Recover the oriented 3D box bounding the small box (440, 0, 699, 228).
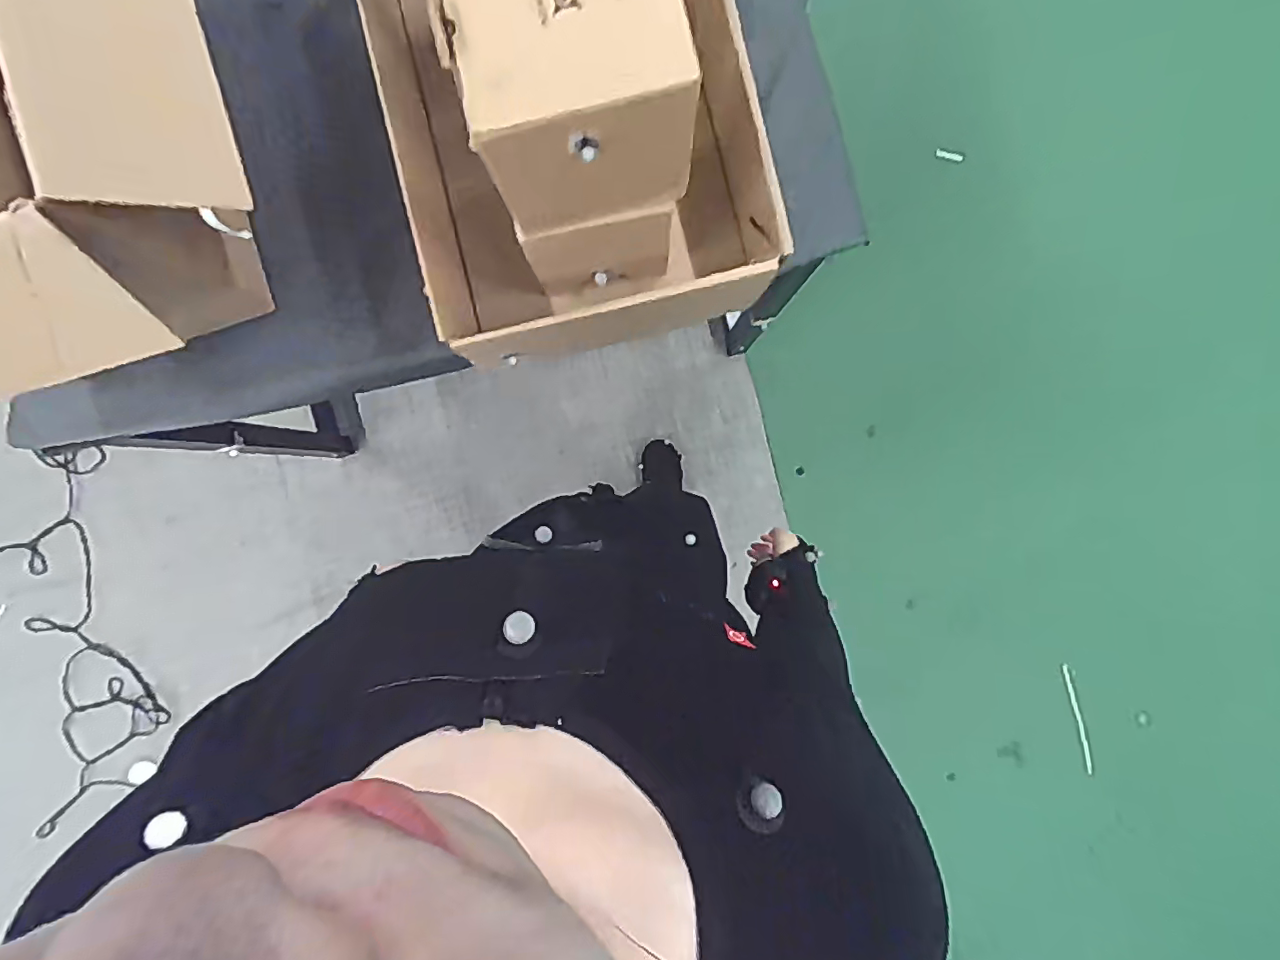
[{"bbox_3d":[-0.056,-0.351,0.477,0.179,0.176,0.168,-14,91,1],"label":"small box"}]
